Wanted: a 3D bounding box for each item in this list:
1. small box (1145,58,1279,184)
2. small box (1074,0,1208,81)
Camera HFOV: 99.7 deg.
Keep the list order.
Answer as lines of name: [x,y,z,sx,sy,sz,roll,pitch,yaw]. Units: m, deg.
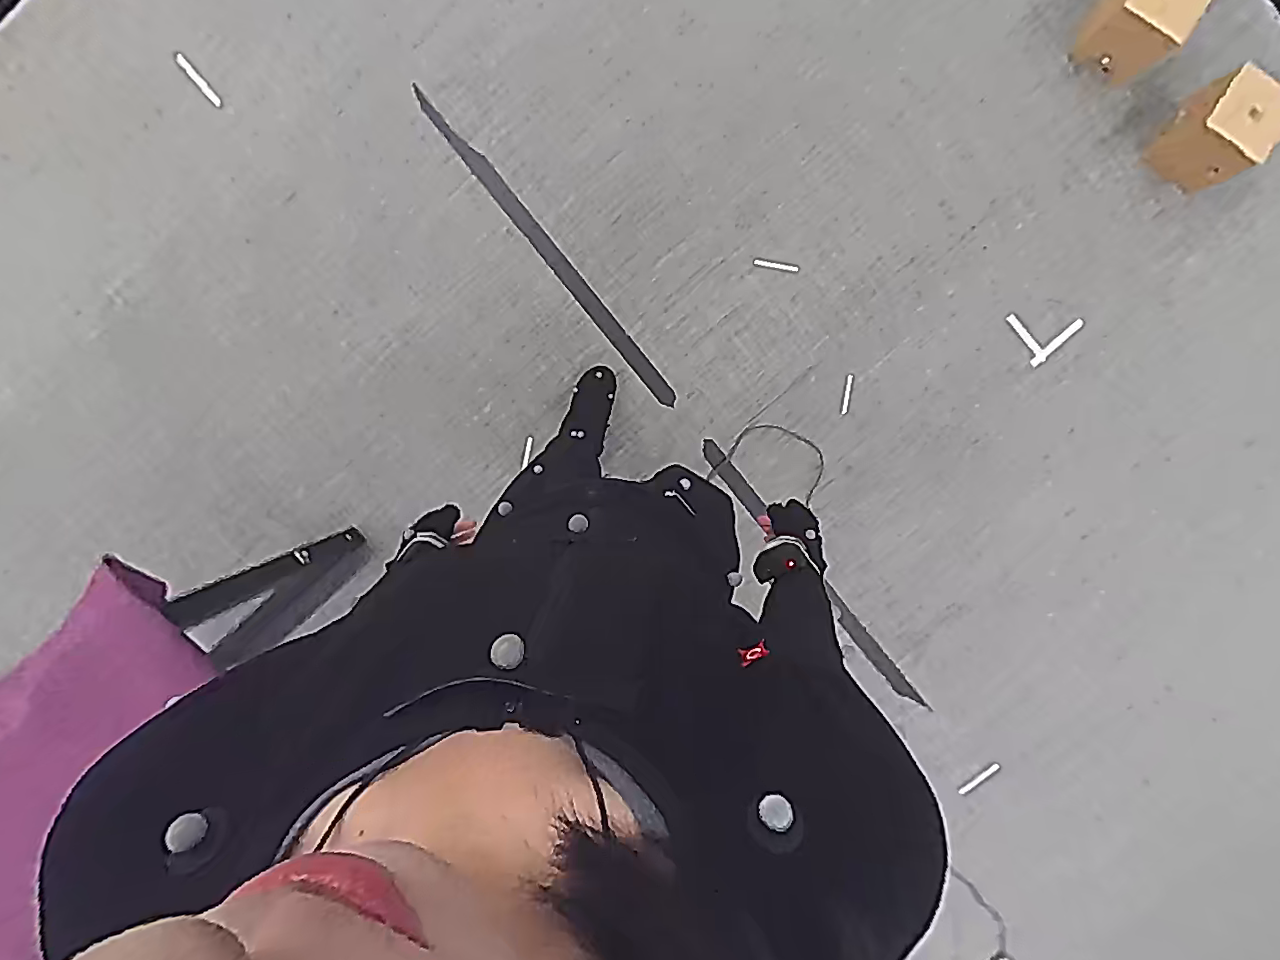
small box: [1.430,-0.868,1.333,0.179,0.176,0.168,31,95,-2]
small box: [1.212,-1.129,1.302,0.168,0.176,0.179,30,96,-3]
